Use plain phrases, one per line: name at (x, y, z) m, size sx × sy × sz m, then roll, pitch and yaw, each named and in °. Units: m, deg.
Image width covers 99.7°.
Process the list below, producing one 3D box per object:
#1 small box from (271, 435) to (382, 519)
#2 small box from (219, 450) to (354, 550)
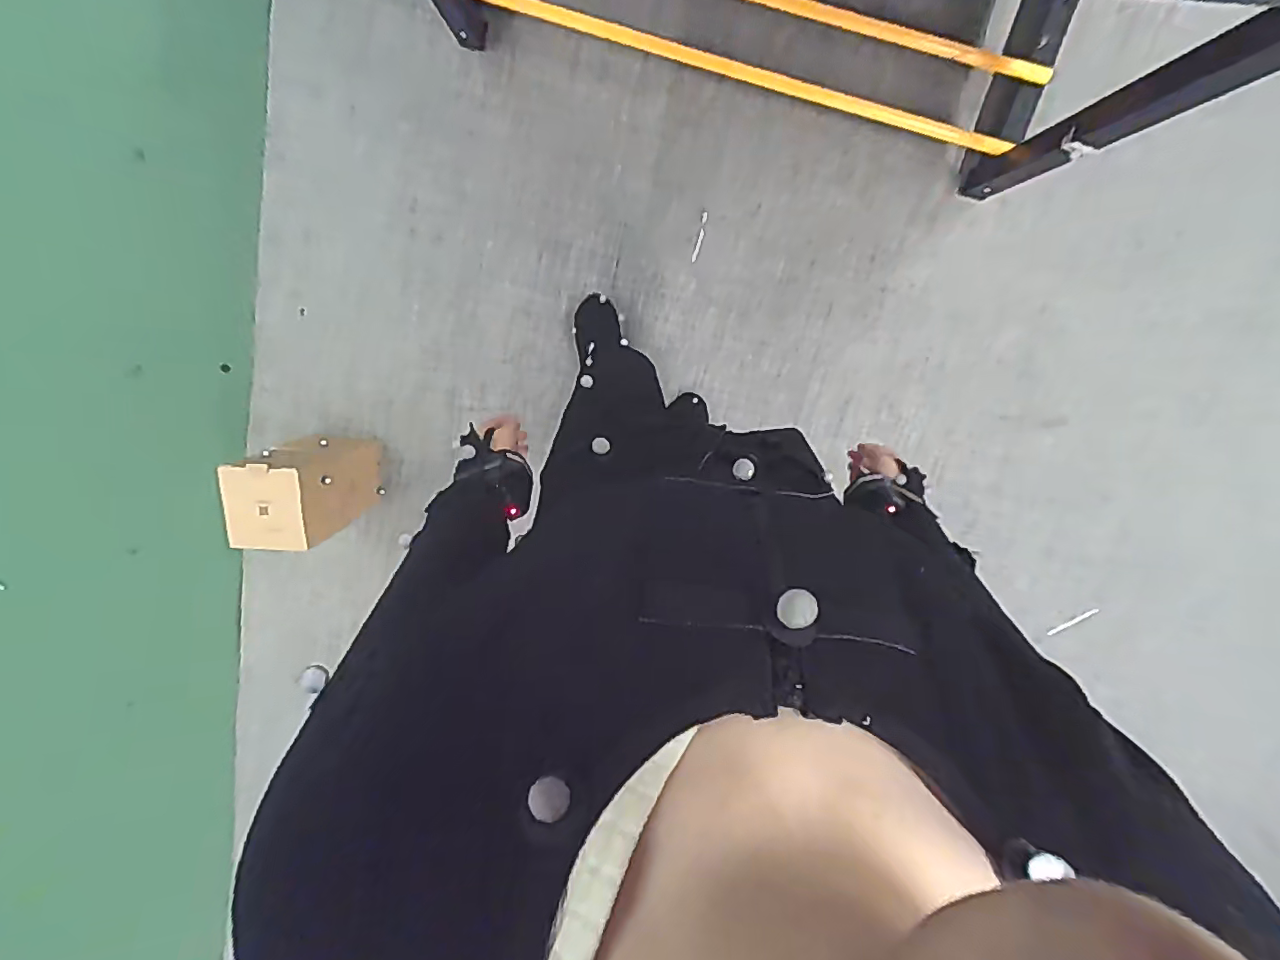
small box at (-0.744, -0.012, 1.307) m, size 0.179 × 0.176 × 0.168 m, roll 4°, pitch 104°, yaw 2°
small box at (-0.741, 0.035, 1.151) m, size 0.168 × 0.176 × 0.179 m, roll 2°, pitch 105°, yaw 3°
